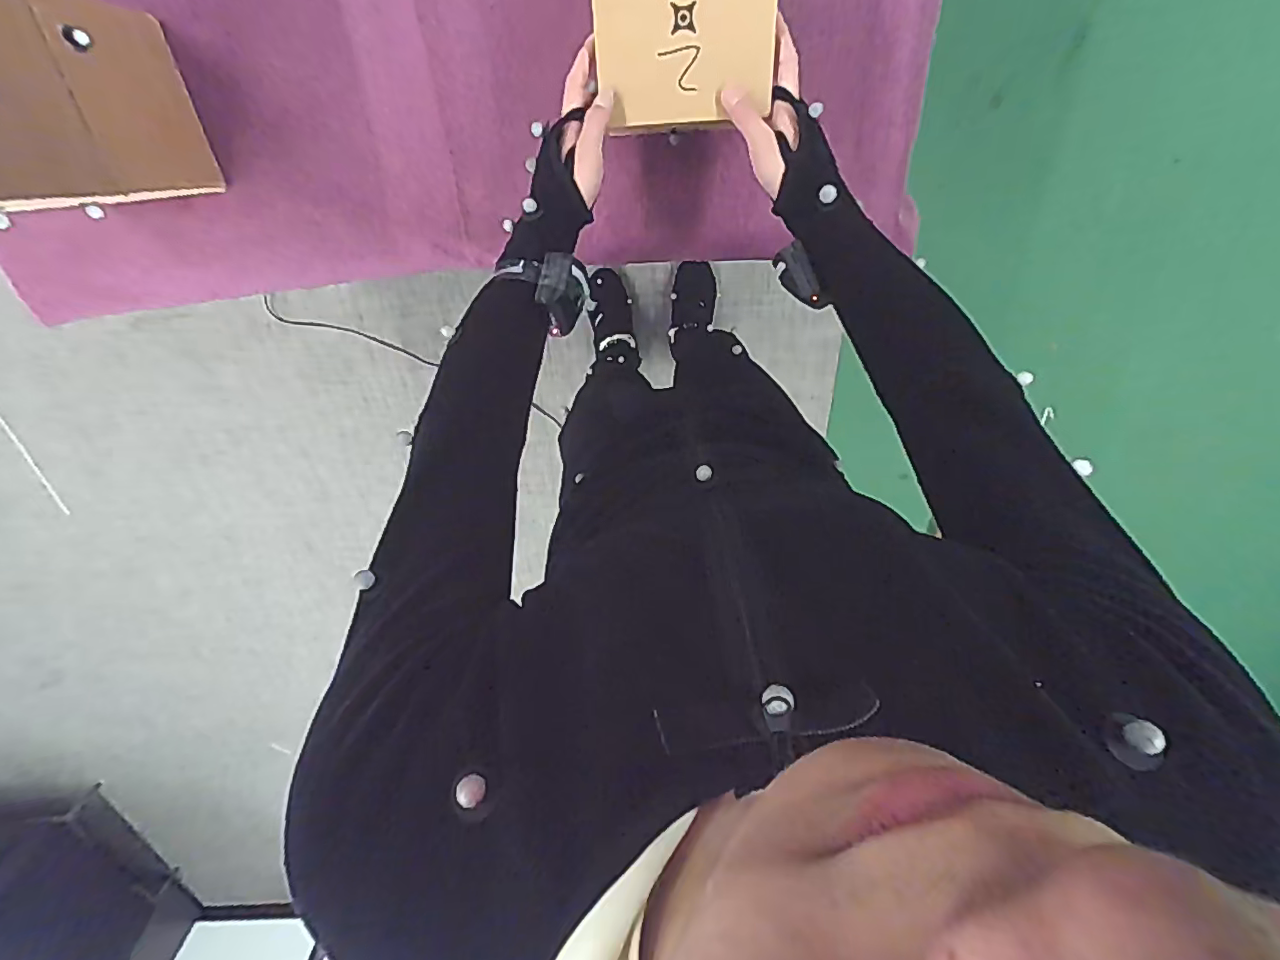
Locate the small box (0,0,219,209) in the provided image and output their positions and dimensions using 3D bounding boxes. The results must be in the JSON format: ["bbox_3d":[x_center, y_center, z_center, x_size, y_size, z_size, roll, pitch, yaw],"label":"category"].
[{"bbox_3d":[-0.613,-0.401,0.581,0.168,0.176,0.179,-4,119,3],"label":"small box"}]

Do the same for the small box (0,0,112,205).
[{"bbox_3d":[-0.613,-0.320,0.438,0.168,0.176,0.179,-4,121,3],"label":"small box"}]
